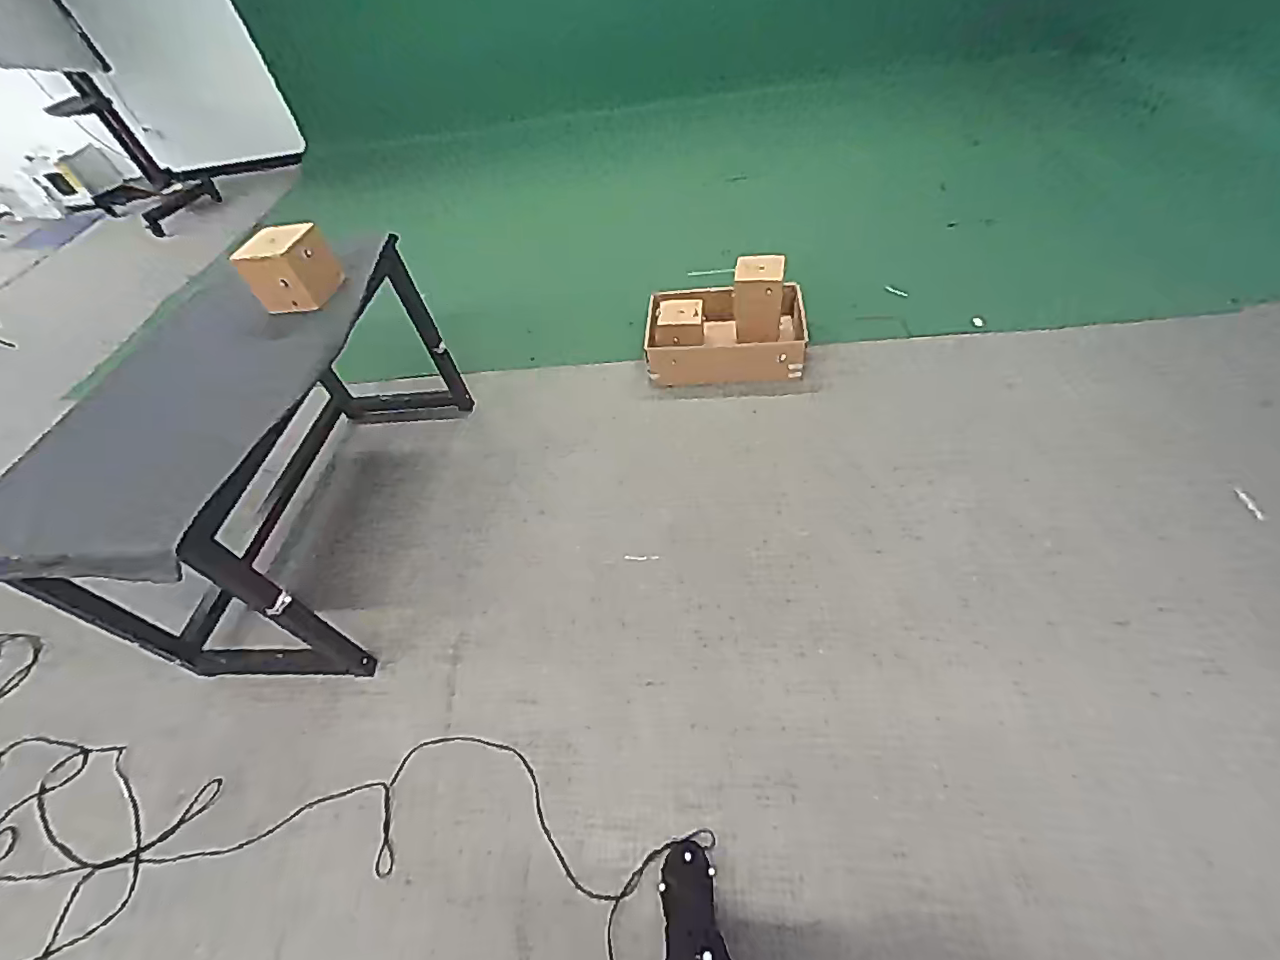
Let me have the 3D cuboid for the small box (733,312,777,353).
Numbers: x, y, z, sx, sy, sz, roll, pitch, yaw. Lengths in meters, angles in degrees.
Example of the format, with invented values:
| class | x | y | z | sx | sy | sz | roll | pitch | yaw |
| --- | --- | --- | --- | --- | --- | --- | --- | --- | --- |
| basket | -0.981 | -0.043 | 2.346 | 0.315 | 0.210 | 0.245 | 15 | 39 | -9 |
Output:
| class | x | y | z | sx | sy | sz | roll | pitch | yaw |
| --- | --- | --- | --- | --- | --- | --- | --- | --- | --- |
| small box | 0.465 | -0.637 | 2.176 | 0.168 | 0.176 | 0.179 | 4 | 54 | 14 |

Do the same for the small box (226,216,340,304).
| class | x | y | z | sx | sy | sz | roll | pitch | yaw |
| --- | --- | --- | --- | --- | --- | --- | --- | --- | --- |
| small box | -0.976 | -0.604 | 1.500 | 0.168 | 0.176 | 0.179 | 1 | 50 | 10 |

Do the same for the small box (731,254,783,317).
| class | x | y | z | sx | sy | sz | roll | pitch | yaw |
| --- | --- | --- | --- | --- | --- | --- | --- | --- | --- |
| small box | 0.443 | -0.735 | 2.045 | 0.179 | 0.176 | 0.168 | 5 | 53 | 14 |
